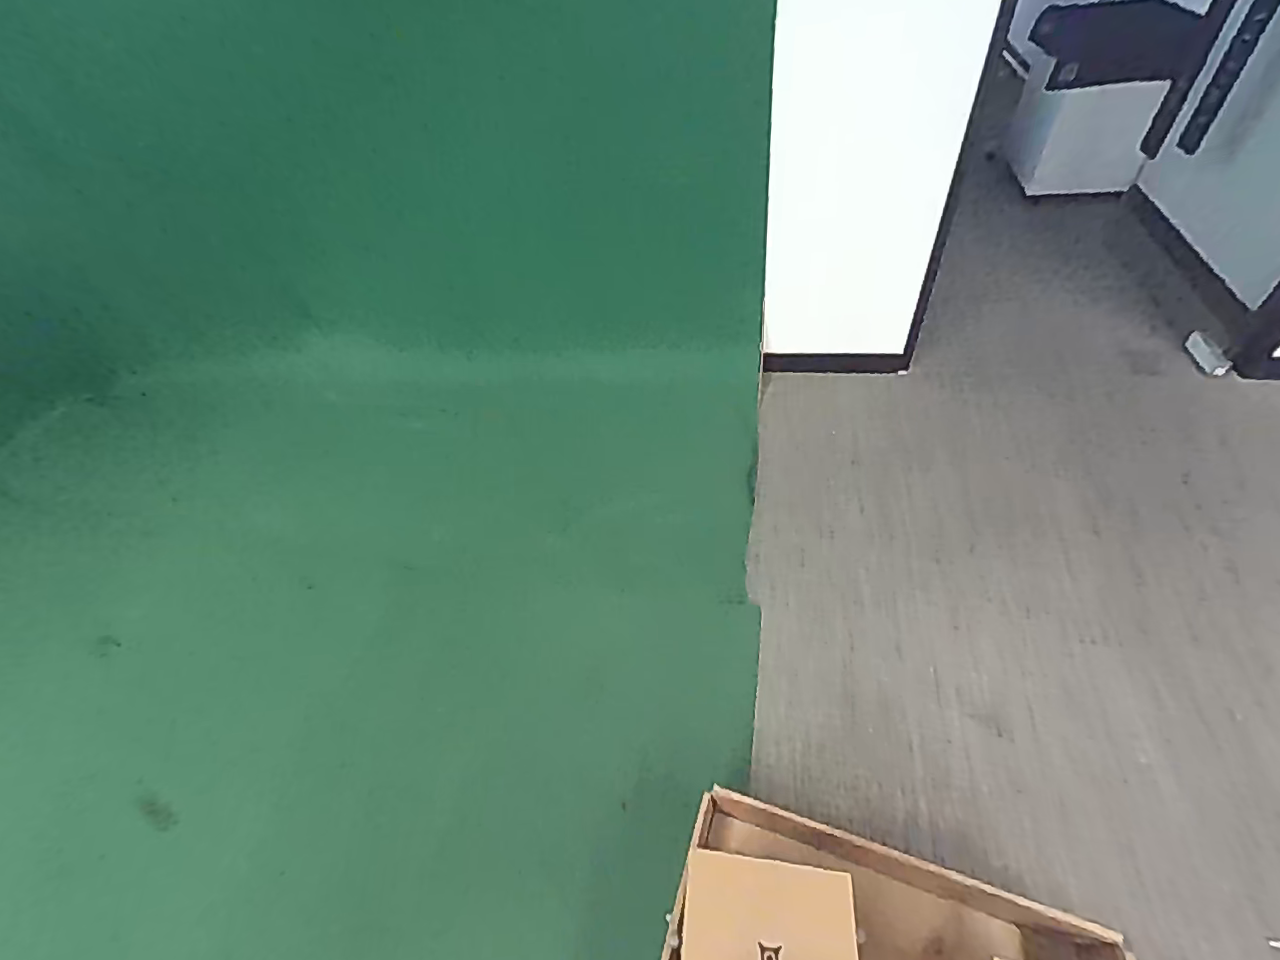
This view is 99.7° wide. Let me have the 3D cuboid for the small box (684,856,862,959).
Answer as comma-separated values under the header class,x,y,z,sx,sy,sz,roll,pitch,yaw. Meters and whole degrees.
class,x,y,z,sx,sy,sz,roll,pitch,yaw
small box,0.128,0.515,0.554,0.168,0.176,0.179,3,49,9
